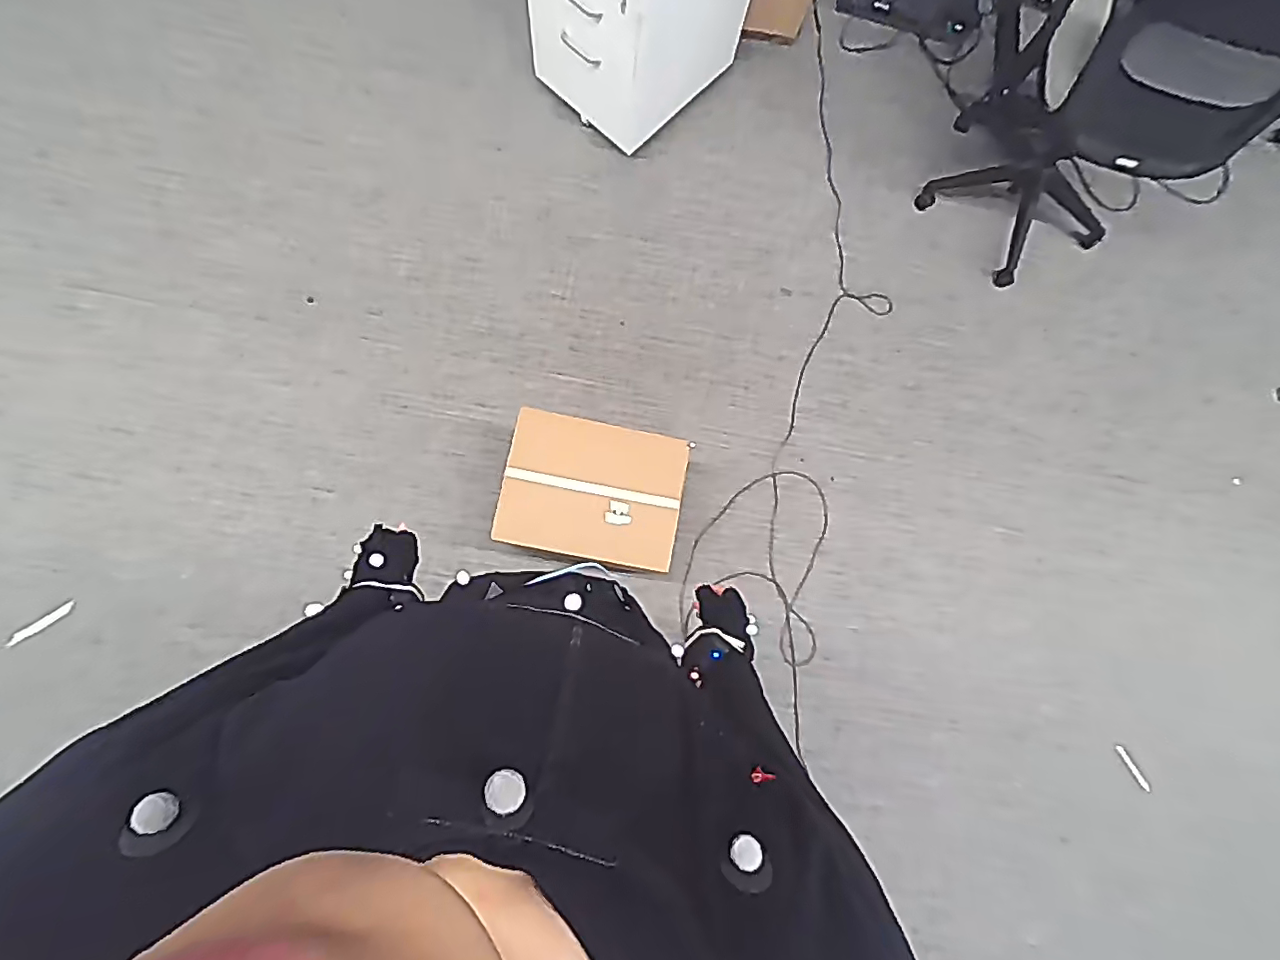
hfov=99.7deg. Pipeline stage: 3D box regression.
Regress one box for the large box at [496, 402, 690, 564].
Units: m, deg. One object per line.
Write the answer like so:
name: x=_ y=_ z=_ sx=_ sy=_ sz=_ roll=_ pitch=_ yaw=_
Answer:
large box: x=-0.119 y=0.027 z=1.380 sx=0.408 sy=0.320 sz=0.320 roll=12 pitch=80 yaw=-5
